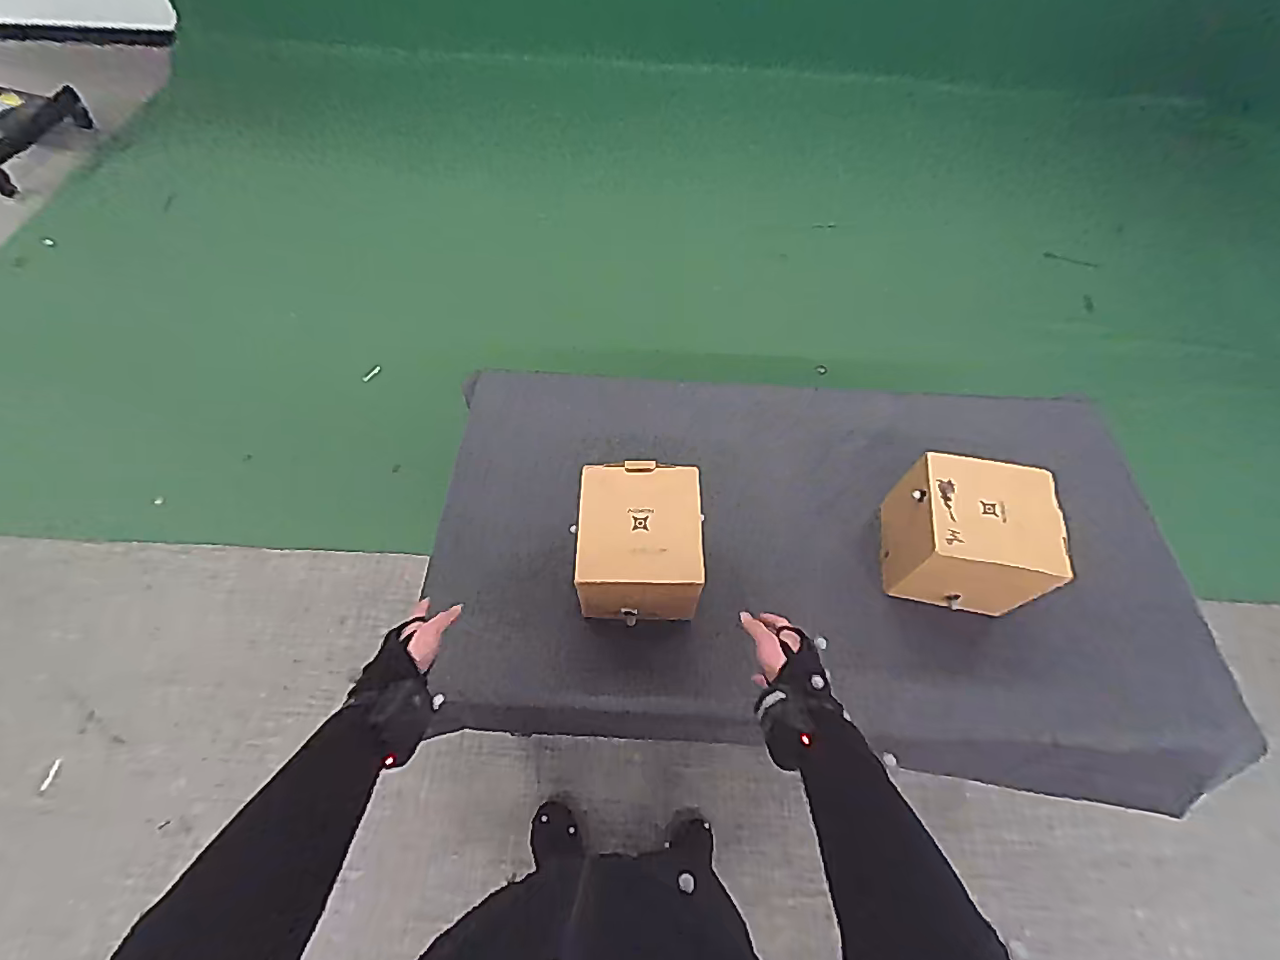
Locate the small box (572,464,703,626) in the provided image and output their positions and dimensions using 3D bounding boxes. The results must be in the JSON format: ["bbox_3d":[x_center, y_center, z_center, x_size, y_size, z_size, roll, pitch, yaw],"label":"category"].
[{"bbox_3d":[0.000,0.096,0.774,0.168,0.176,0.179,2,60,2],"label":"small box"}]

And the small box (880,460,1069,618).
[{"bbox_3d":[0.482,0.095,0.808,0.179,0.176,0.168,11,60,4],"label":"small box"}]
